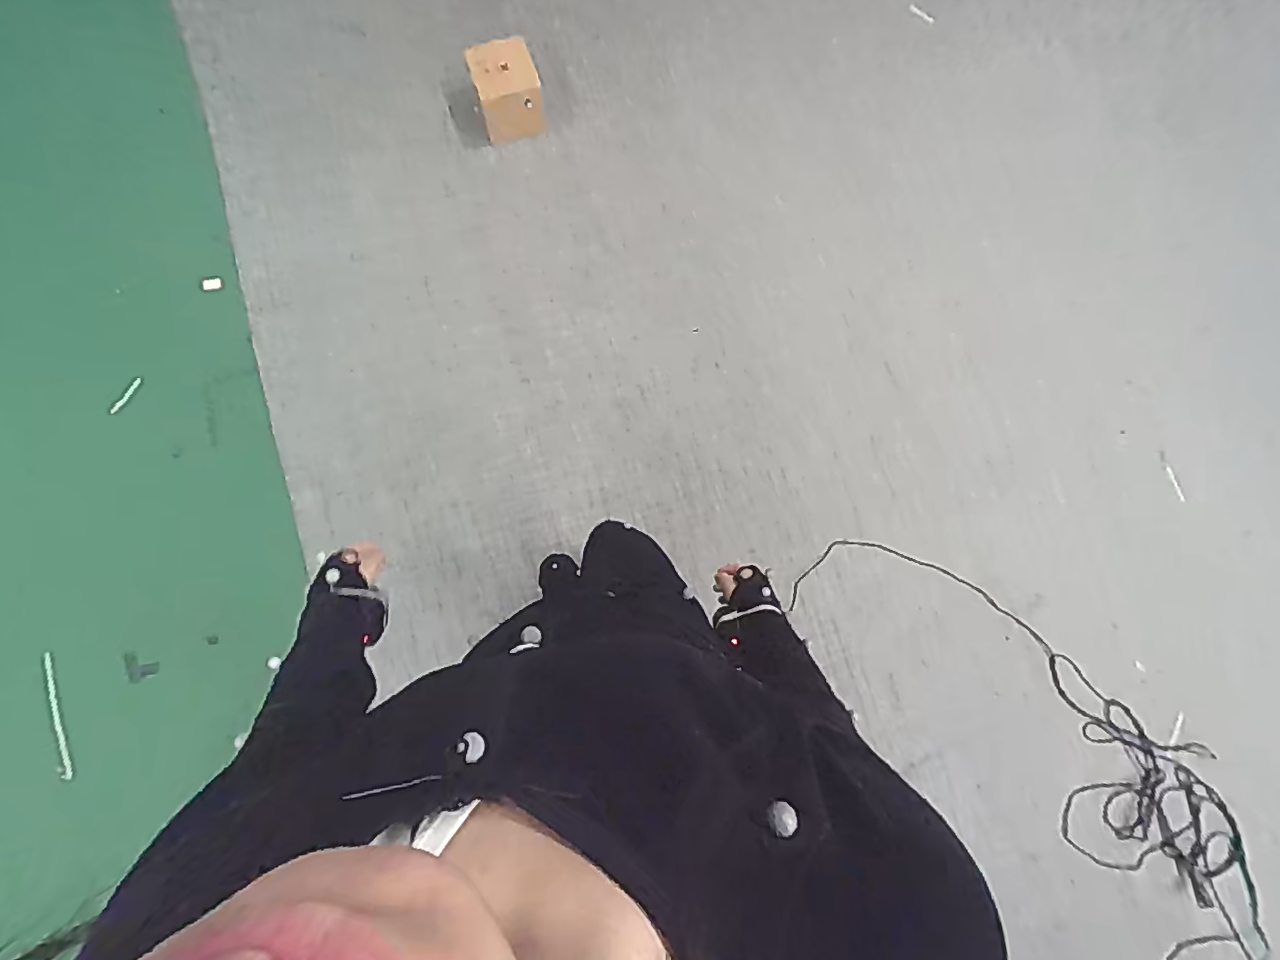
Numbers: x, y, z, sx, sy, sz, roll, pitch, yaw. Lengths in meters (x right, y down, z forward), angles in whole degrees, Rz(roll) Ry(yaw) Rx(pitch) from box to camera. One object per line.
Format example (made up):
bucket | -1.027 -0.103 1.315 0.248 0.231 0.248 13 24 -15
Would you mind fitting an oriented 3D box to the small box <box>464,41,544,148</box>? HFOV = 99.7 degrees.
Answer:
small box | -0.384 -1.108 1.567 0.179 0.176 0.168 -20 85 -7
